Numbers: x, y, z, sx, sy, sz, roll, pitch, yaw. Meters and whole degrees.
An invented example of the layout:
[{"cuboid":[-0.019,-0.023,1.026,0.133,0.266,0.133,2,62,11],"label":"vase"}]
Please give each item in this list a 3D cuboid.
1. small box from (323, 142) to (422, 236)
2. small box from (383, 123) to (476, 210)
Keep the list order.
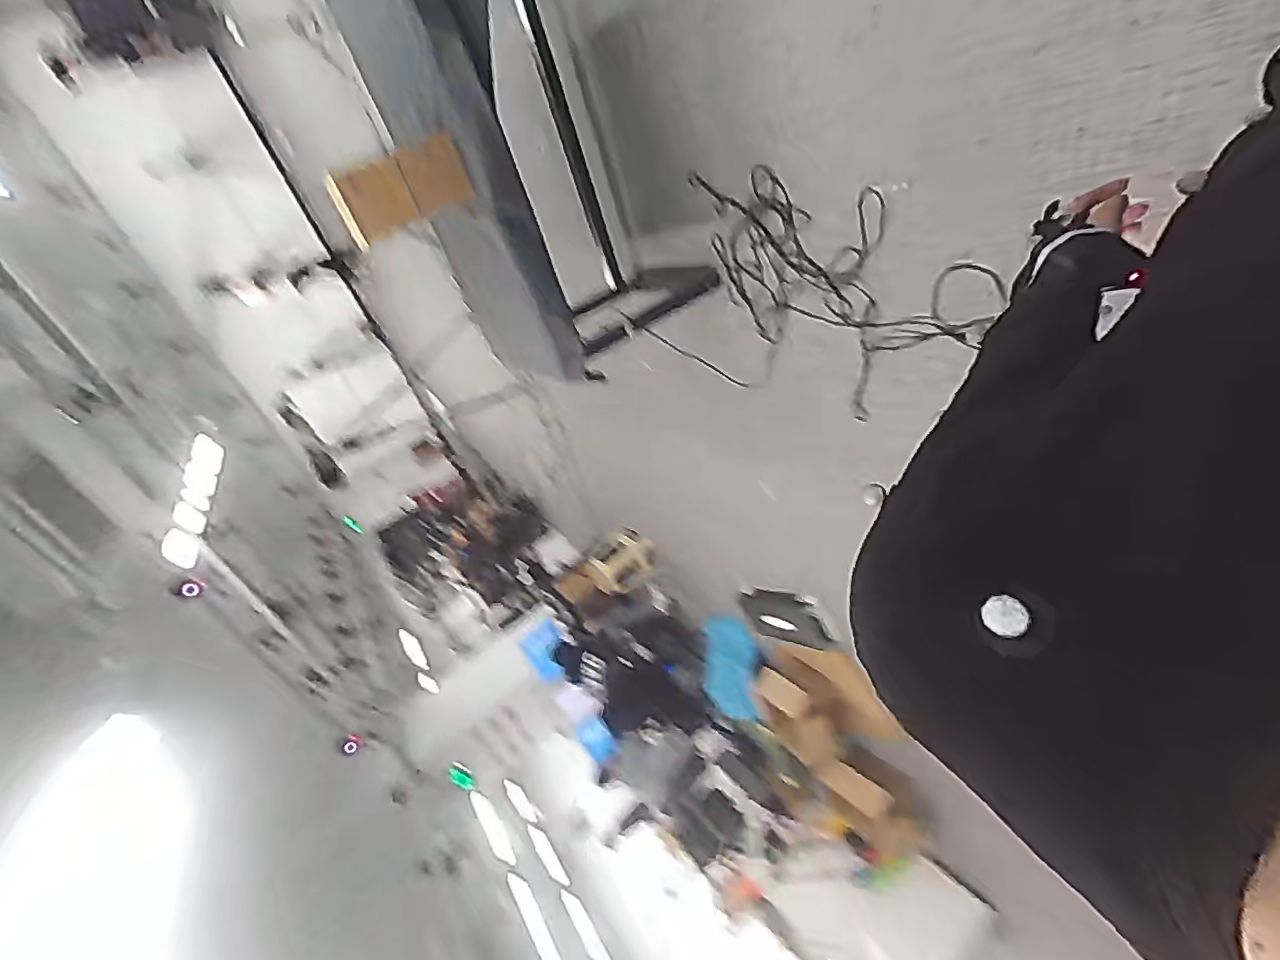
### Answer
[{"cuboid":[-0.711,-0.773,1.446,0.168,0.176,0.179,31,146,50],"label":"small box"},{"cuboid":[-0.584,-0.862,1.496,0.168,0.176,0.179,29,147,52],"label":"small box"}]
